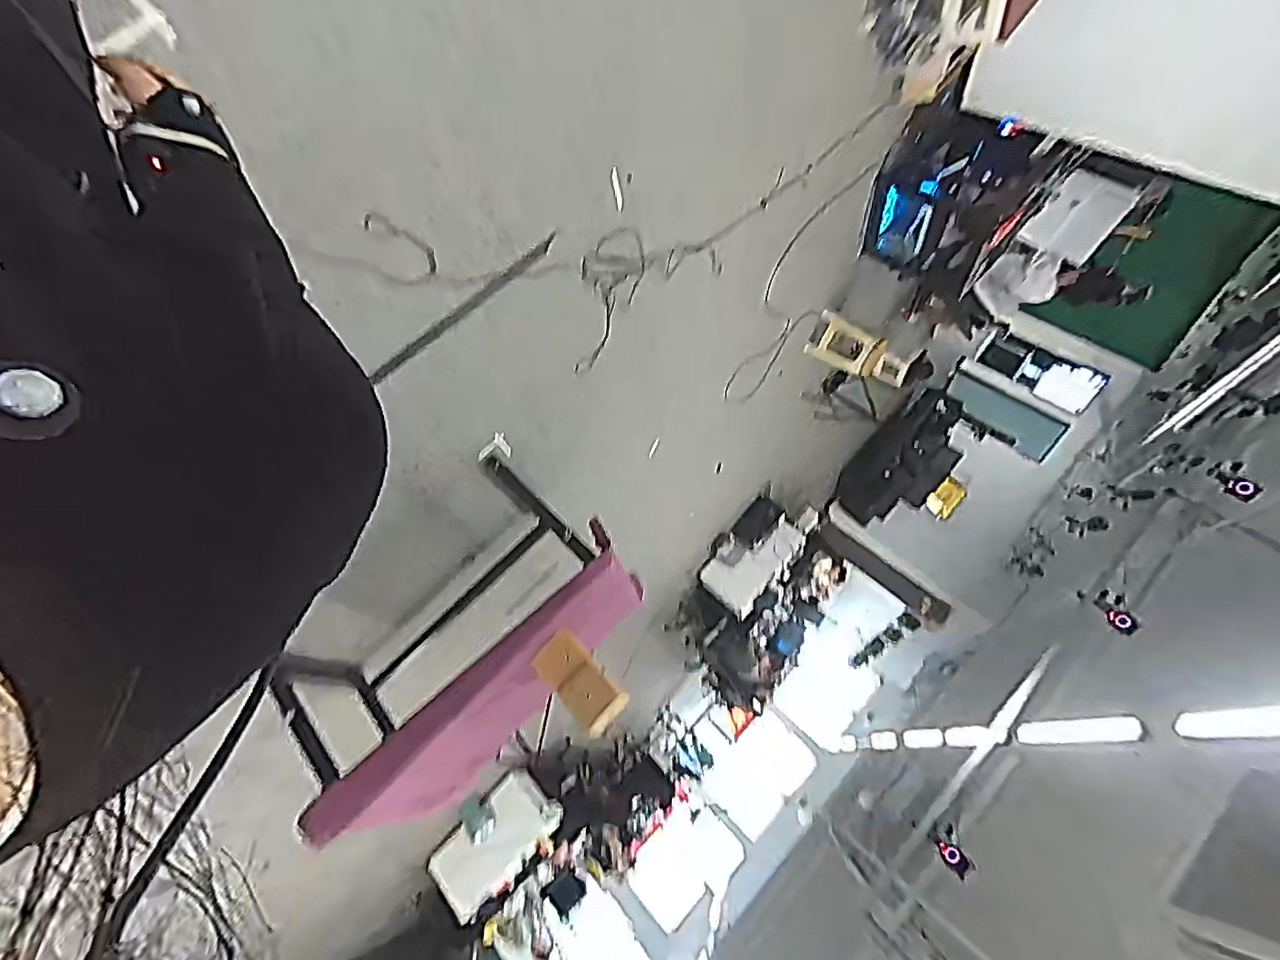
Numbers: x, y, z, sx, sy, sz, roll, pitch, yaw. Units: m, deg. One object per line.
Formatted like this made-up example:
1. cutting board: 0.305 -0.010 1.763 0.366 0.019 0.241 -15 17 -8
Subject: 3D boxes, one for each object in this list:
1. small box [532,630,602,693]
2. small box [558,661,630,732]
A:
1. small box: -0.274 0.683 2.016 0.168 0.176 0.179 -45 154 -11
2. small box: -0.165 0.767 1.923 0.168 0.176 0.179 -45 154 -10
